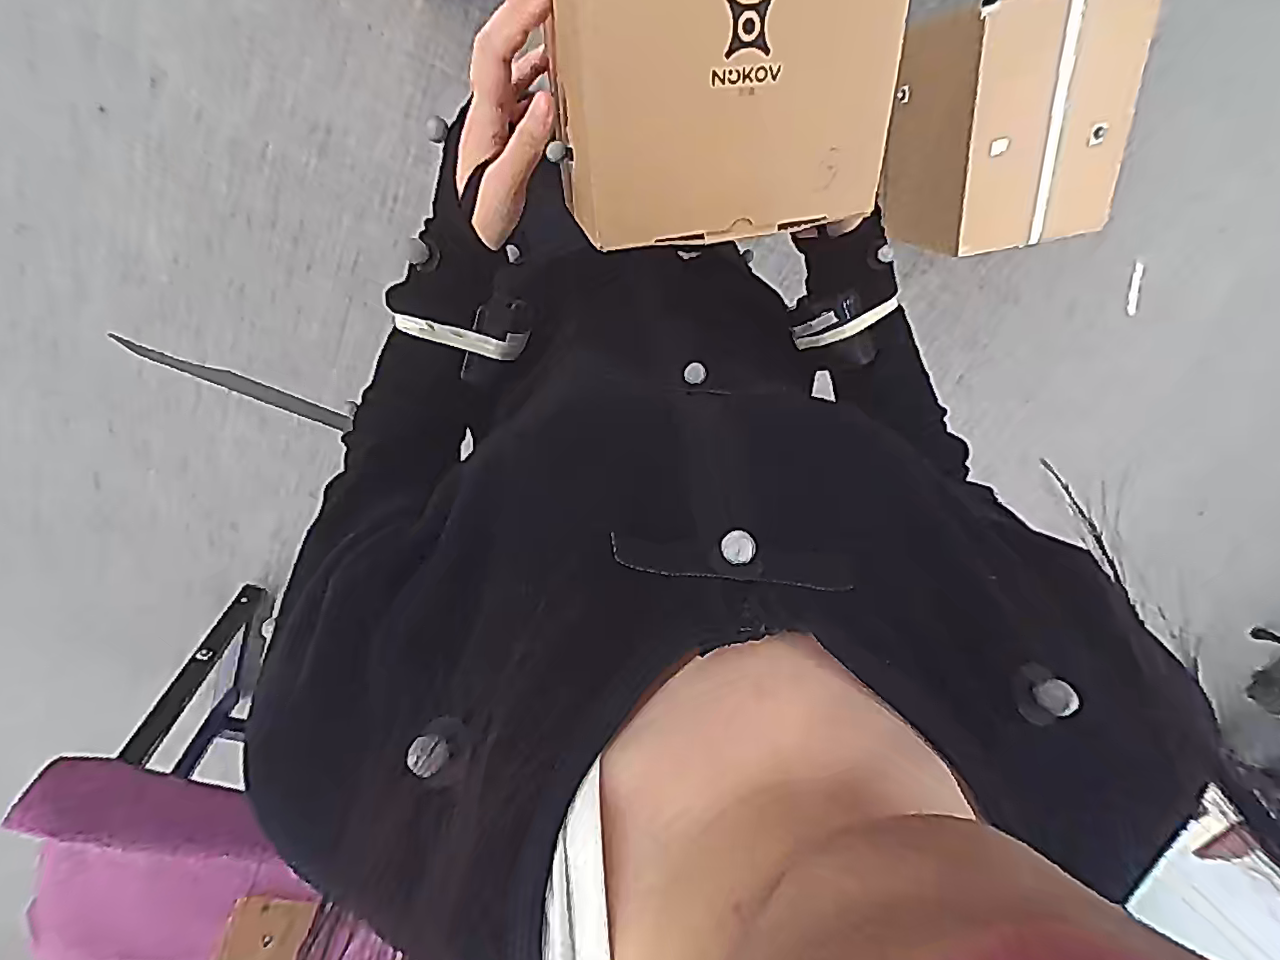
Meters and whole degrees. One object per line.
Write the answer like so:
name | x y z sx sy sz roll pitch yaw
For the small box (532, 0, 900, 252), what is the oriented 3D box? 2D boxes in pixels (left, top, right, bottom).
small box | 0.030 -0.256 0.324 0.168 0.176 0.179 -13 126 -9

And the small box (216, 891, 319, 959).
small box | -0.857 1.066 1.223 0.168 0.176 0.179 22 116 -19
